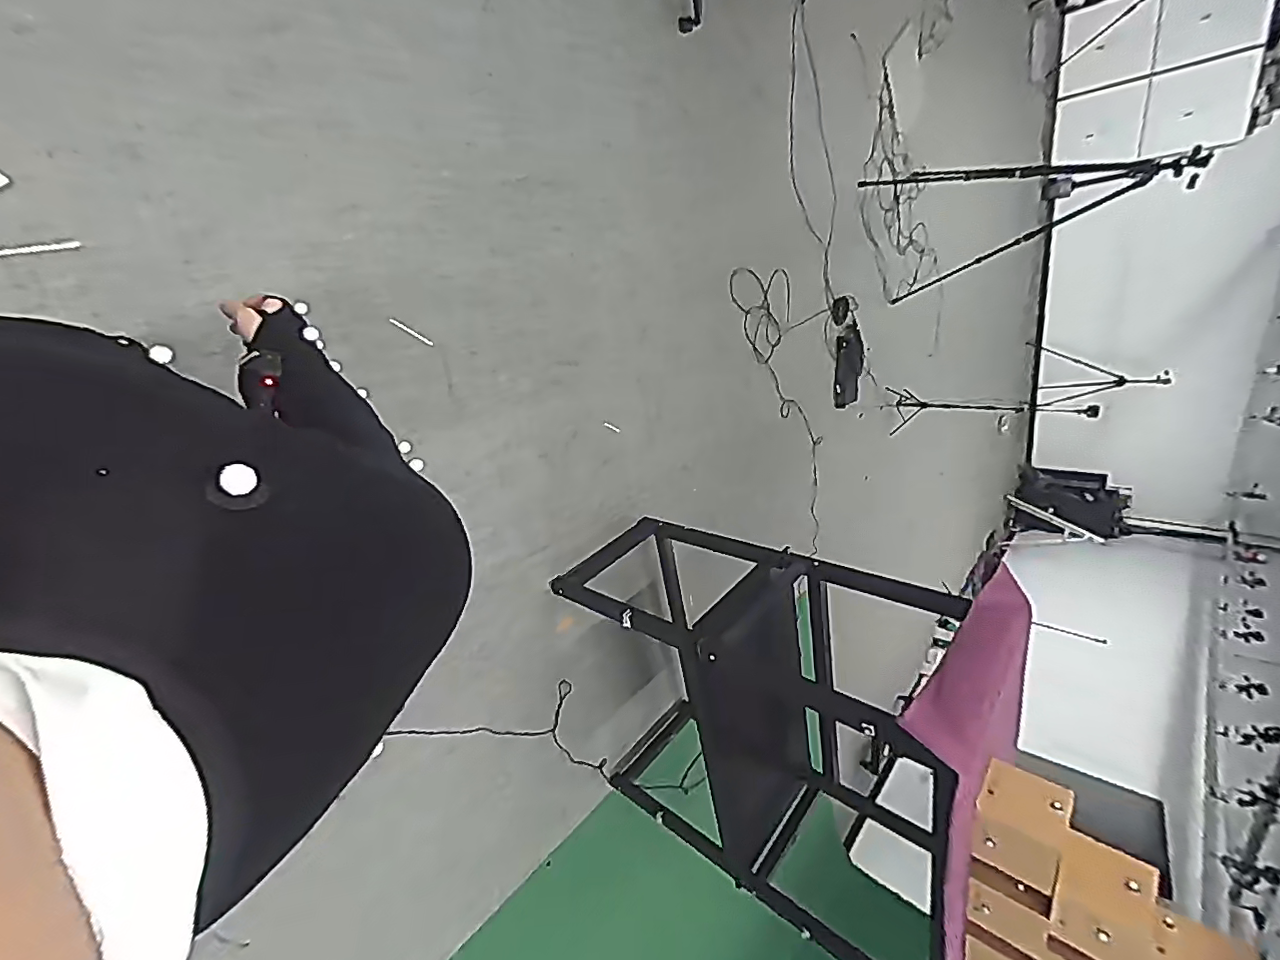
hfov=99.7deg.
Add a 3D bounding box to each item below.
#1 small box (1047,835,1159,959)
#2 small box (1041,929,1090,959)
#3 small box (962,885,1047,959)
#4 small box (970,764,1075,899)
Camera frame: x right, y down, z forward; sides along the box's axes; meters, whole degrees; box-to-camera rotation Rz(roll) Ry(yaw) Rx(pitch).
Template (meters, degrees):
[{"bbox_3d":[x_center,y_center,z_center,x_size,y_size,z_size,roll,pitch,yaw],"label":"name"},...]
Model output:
[{"bbox_3d":[1.040,0.963,1.221,0.179,0.176,0.168,-29,117,-40],"label":"small box"},{"bbox_3d":[1.086,1.177,1.309,0.168,0.176,0.179,-30,118,-40],"label":"small box"},{"bbox_3d":[0.997,1.278,1.478,0.179,0.176,0.168,-27,117,-41],"label":"small box"},{"bbox_3d":[0.902,0.822,1.284,0.168,0.176,0.179,-31,120,-39],"label":"small box"}]
